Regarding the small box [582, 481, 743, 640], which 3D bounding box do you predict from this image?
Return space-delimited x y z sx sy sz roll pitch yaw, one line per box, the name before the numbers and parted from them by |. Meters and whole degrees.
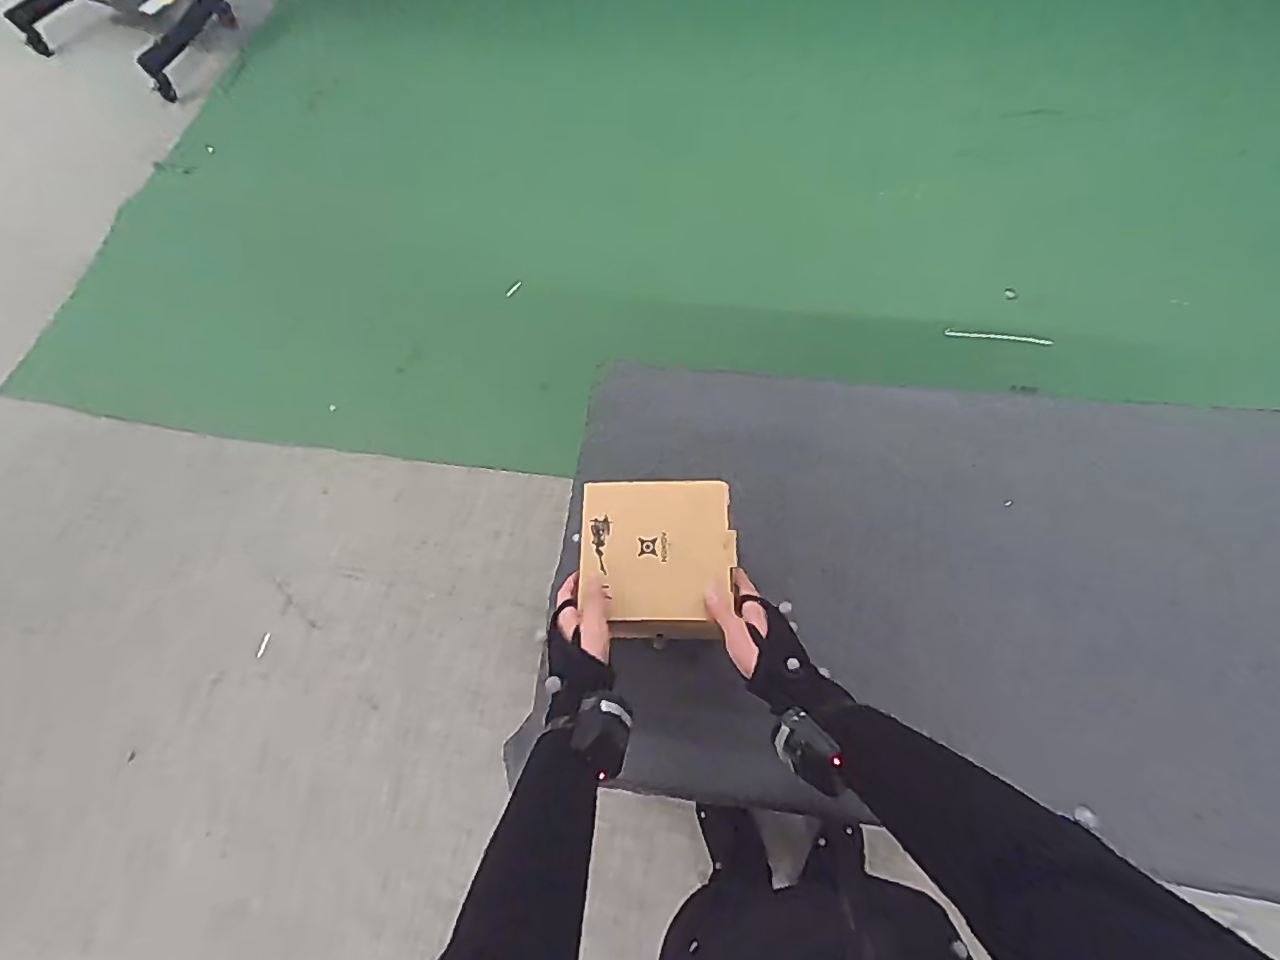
small box | 0.028 0.109 0.684 0.179 0.176 0.168 1 68 2
